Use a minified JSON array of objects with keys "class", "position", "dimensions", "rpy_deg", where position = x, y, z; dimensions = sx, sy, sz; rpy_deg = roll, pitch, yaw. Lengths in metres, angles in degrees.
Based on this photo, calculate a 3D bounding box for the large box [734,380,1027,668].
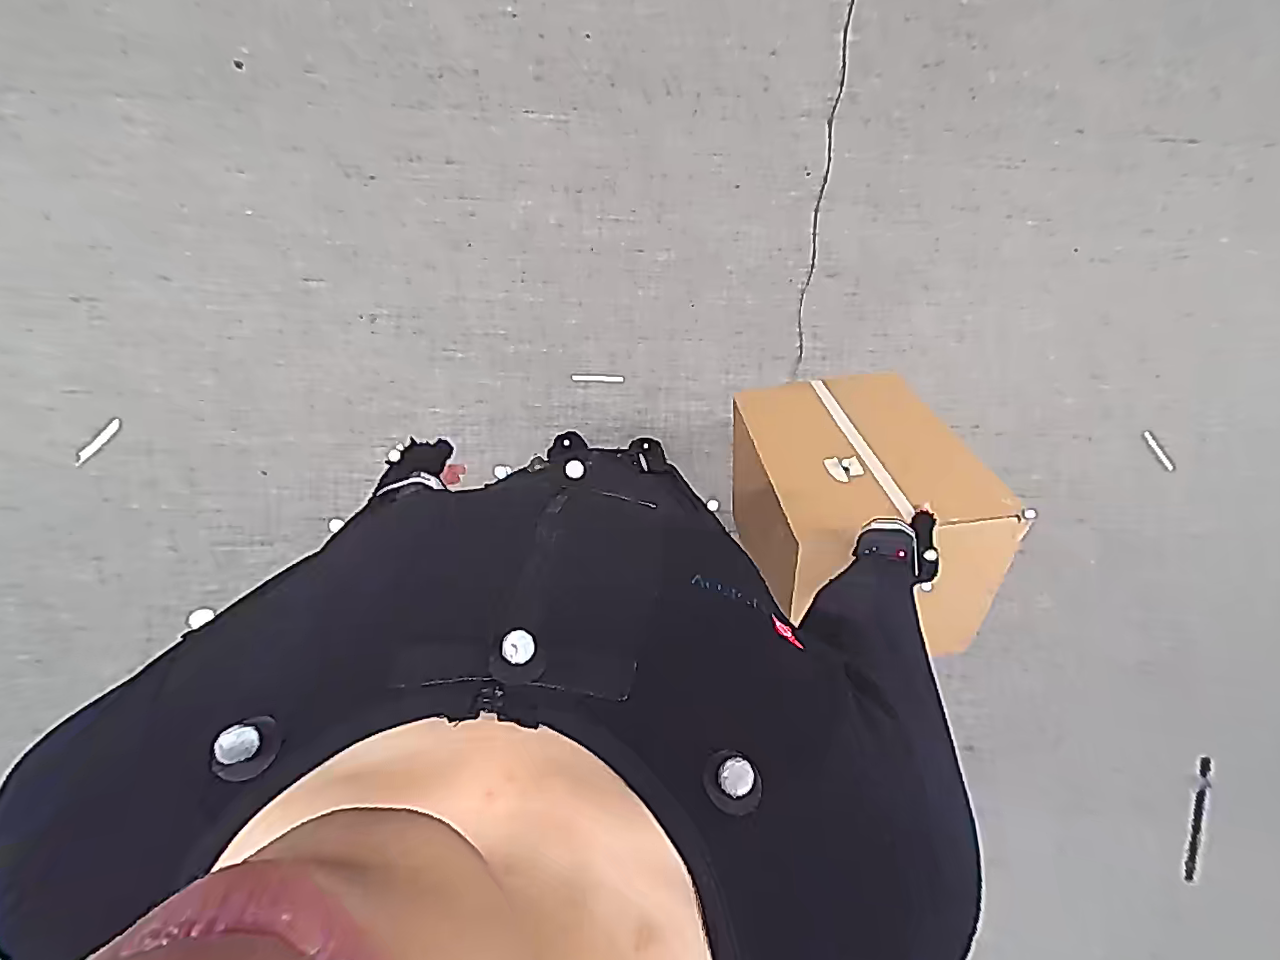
[{"class":"large box","position":[0.368,0.064,0.975],"dimensions":[0.320,0.408,0.320],"rpy_deg":[-8,130,0]}]
